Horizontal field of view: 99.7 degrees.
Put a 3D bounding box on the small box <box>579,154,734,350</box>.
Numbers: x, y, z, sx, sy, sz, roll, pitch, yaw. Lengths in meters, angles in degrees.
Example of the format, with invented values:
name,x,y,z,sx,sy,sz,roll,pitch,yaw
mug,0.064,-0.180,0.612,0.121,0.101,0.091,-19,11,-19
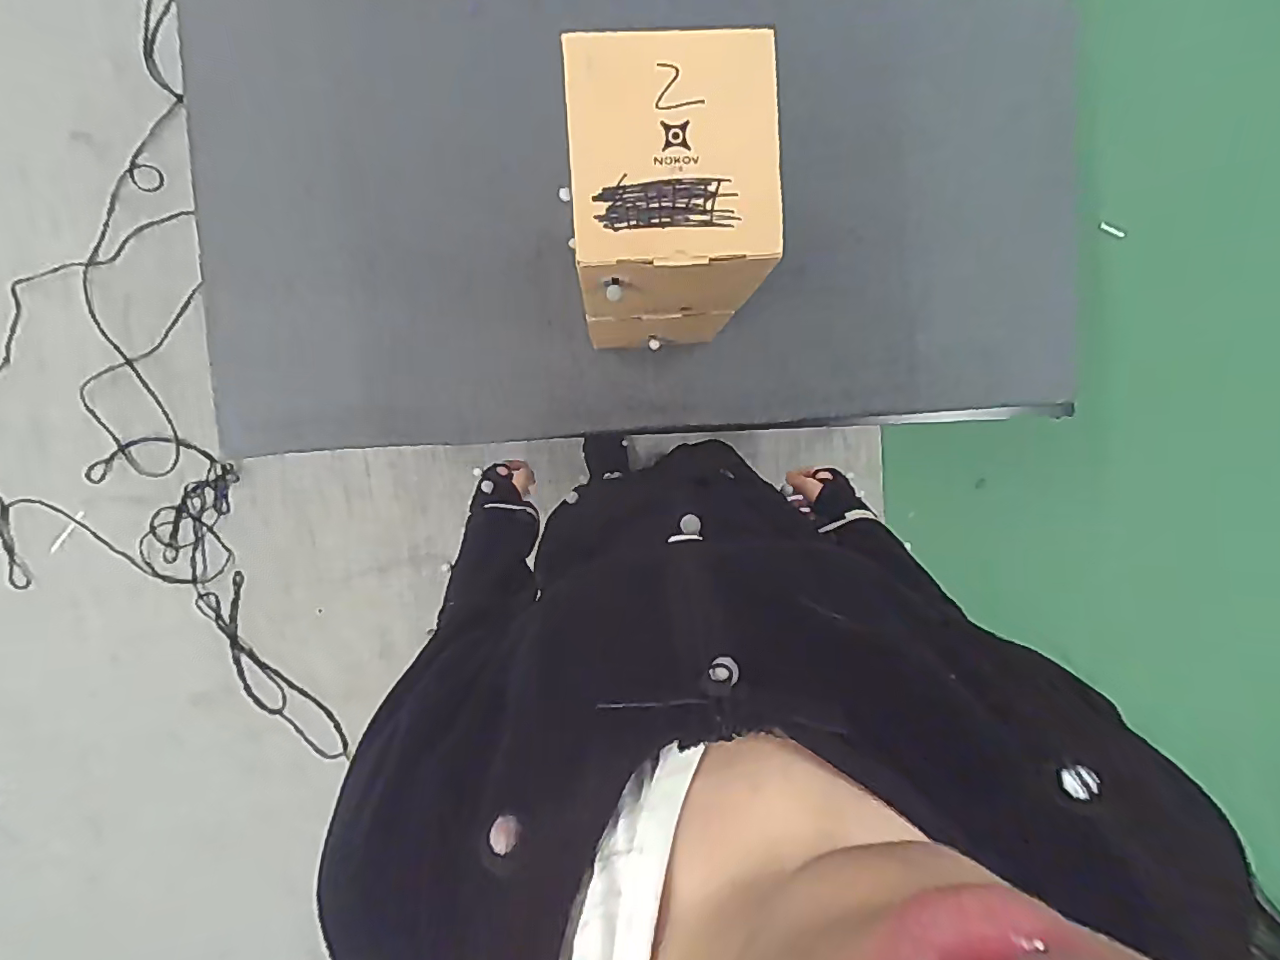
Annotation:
name,x,y,z,sx,sy,sz,roll,pitch,yaw
small box,0.014,-0.268,0.669,0.168,0.176,0.179,-4,94,-2
